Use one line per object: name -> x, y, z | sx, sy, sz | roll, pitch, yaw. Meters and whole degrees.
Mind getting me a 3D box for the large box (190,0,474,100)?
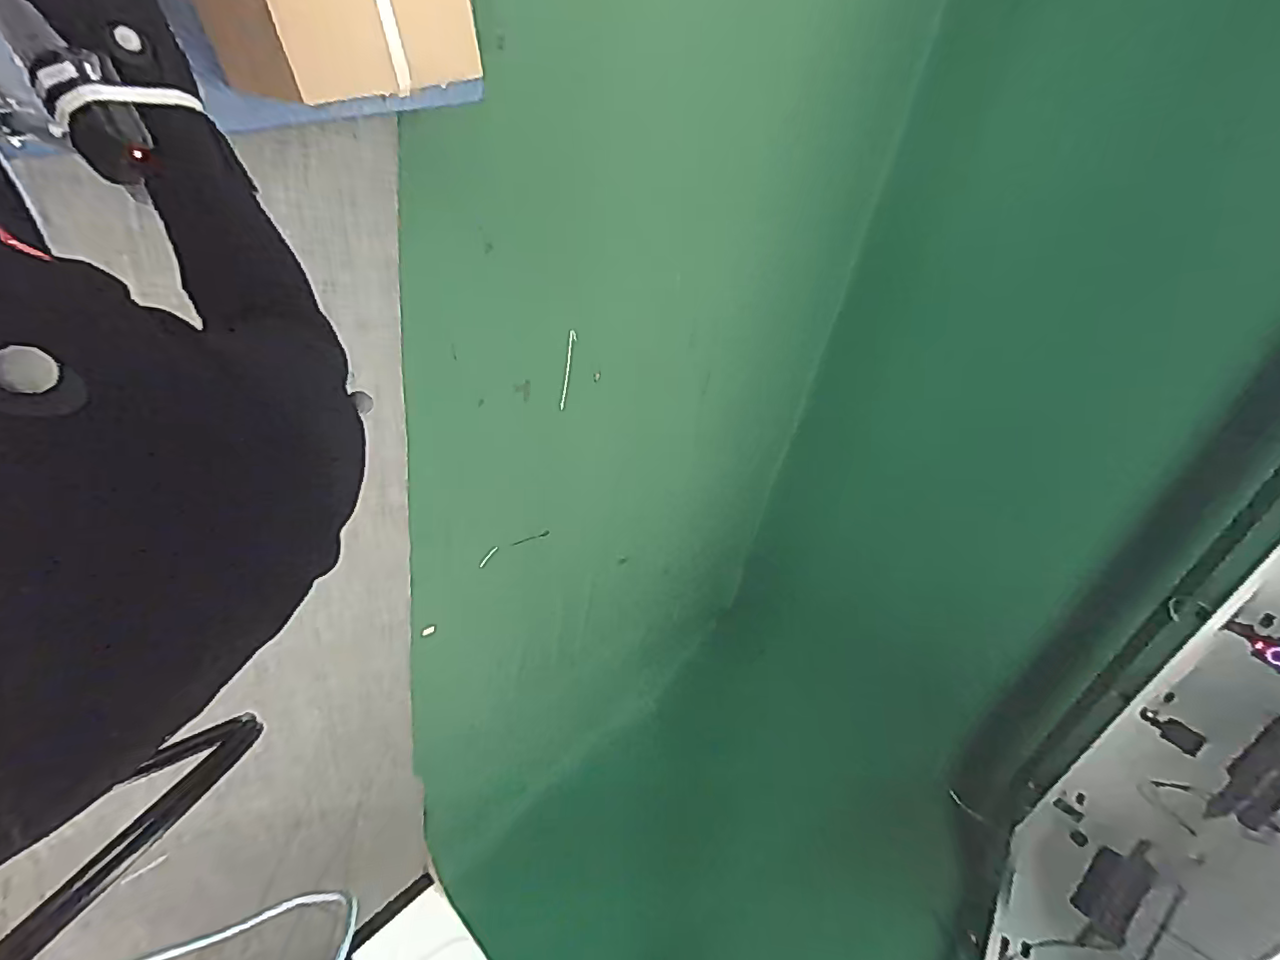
large box -> -0.507, -0.833, 0.797 | 0.320, 0.320, 0.408 | -39, 143, -32
